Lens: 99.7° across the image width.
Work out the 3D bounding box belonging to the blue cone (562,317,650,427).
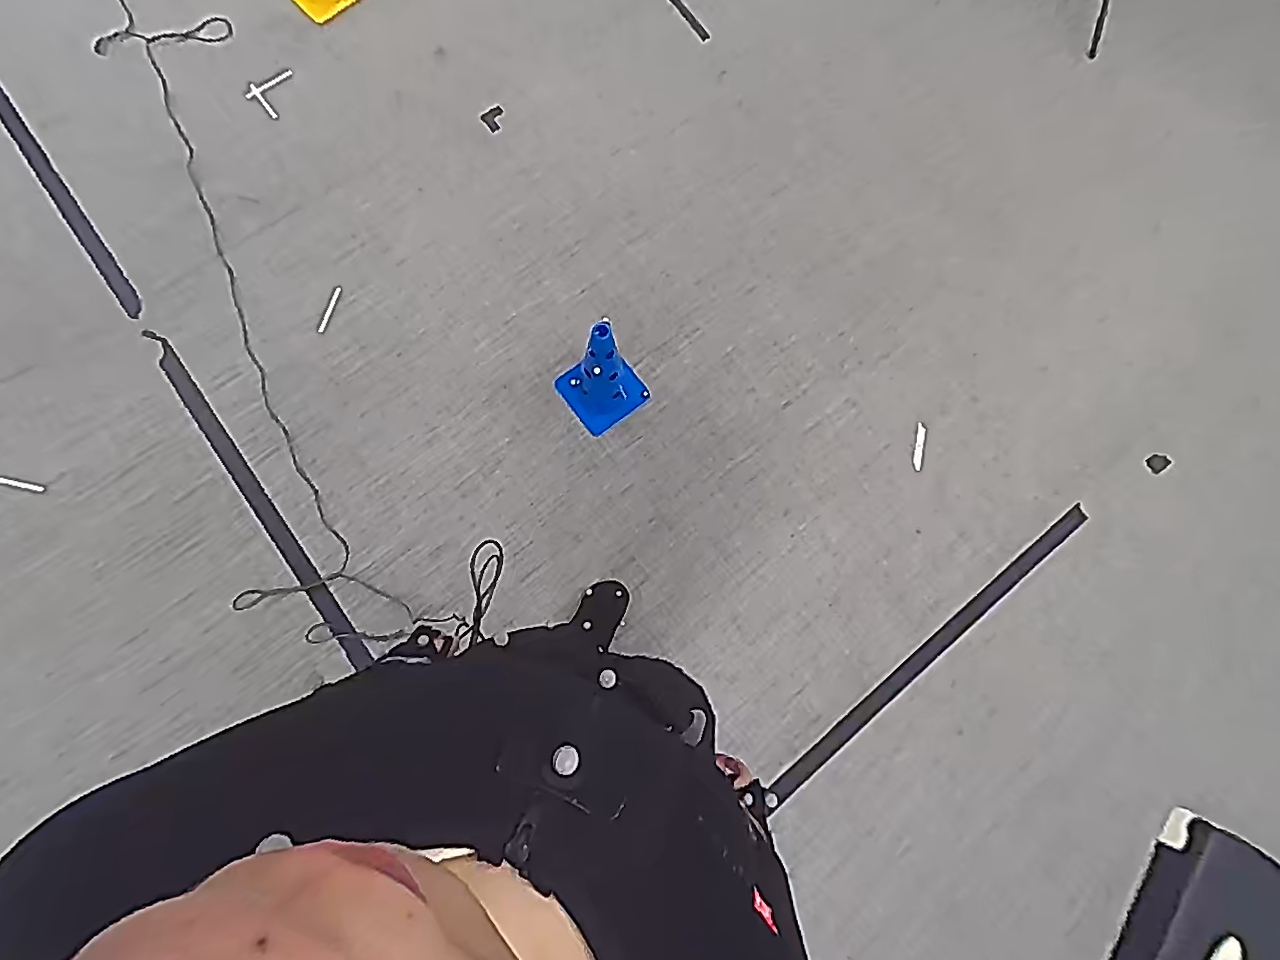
[{"bbox_3d":[-0.083,-0.283,1.298,0.192,0.380,0.193,-36,84,-10],"label":"blue cone"}]
